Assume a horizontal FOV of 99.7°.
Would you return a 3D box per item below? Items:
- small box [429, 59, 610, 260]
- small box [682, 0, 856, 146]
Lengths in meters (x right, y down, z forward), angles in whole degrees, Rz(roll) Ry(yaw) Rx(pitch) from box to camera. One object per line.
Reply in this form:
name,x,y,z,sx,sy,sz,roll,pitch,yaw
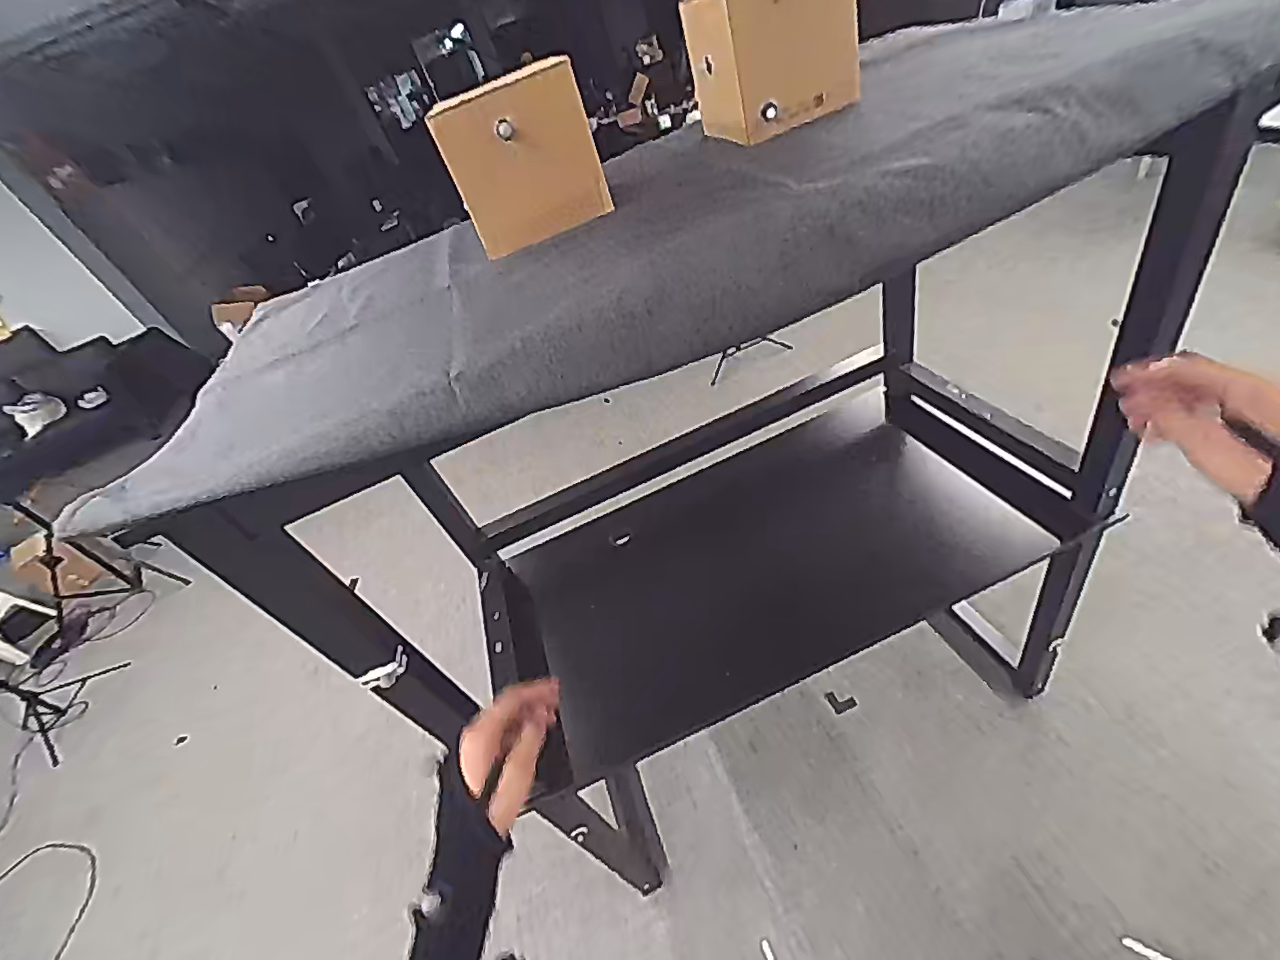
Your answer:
small box,-0.148,-0.418,0.709,0.179,0.176,0.168,-22,40,1
small box,0.177,-0.582,0.740,0.168,0.176,0.179,-23,39,-1
